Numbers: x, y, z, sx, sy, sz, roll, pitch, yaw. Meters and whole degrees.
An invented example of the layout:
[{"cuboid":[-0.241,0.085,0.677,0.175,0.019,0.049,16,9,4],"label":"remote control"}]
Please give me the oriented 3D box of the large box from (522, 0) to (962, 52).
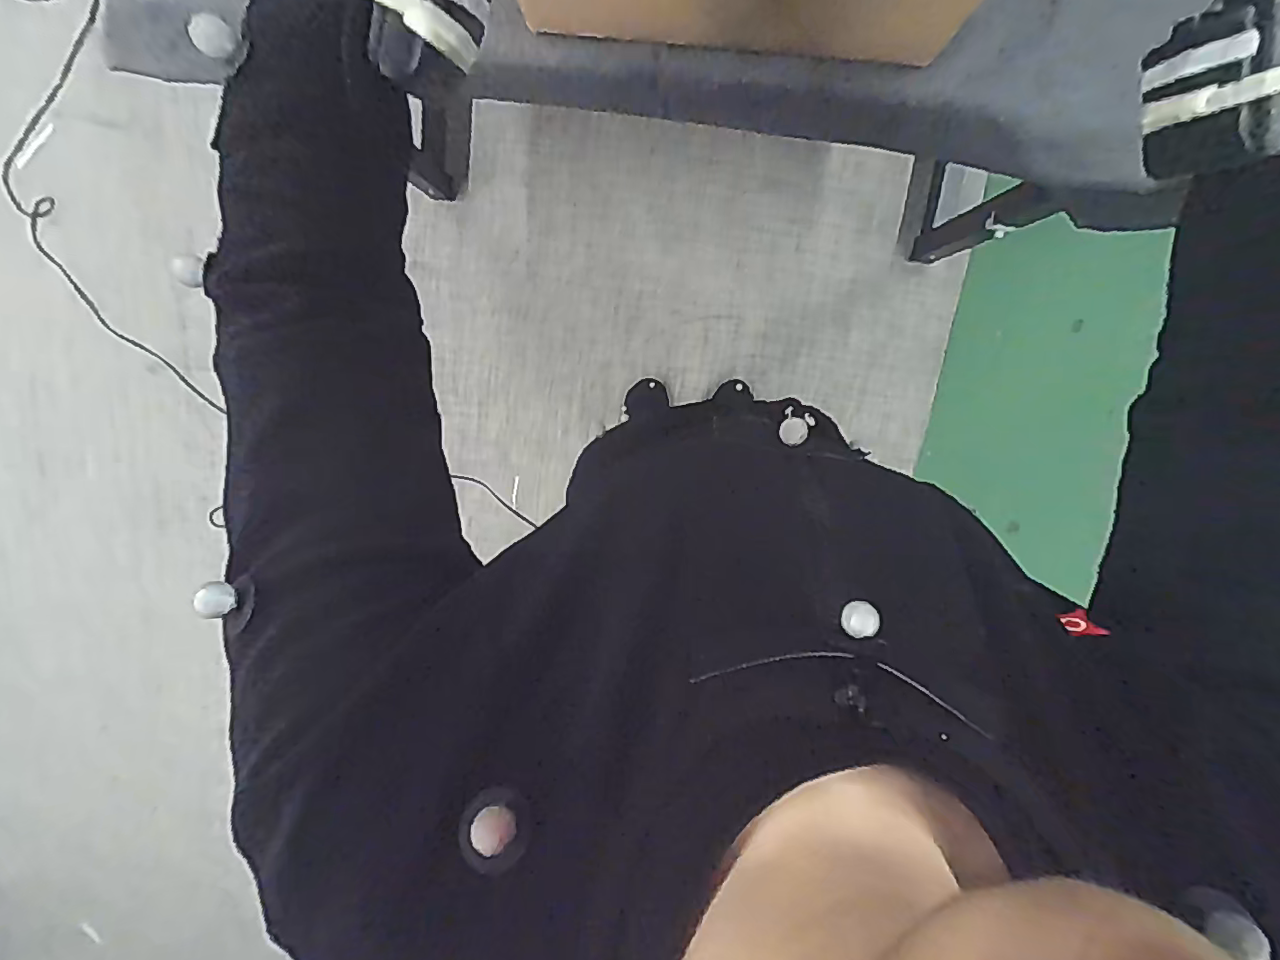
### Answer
[{"cuboid":[0.091,-0.561,0.371,0.408,0.320,0.320,5,101,1],"label":"large box"}]
